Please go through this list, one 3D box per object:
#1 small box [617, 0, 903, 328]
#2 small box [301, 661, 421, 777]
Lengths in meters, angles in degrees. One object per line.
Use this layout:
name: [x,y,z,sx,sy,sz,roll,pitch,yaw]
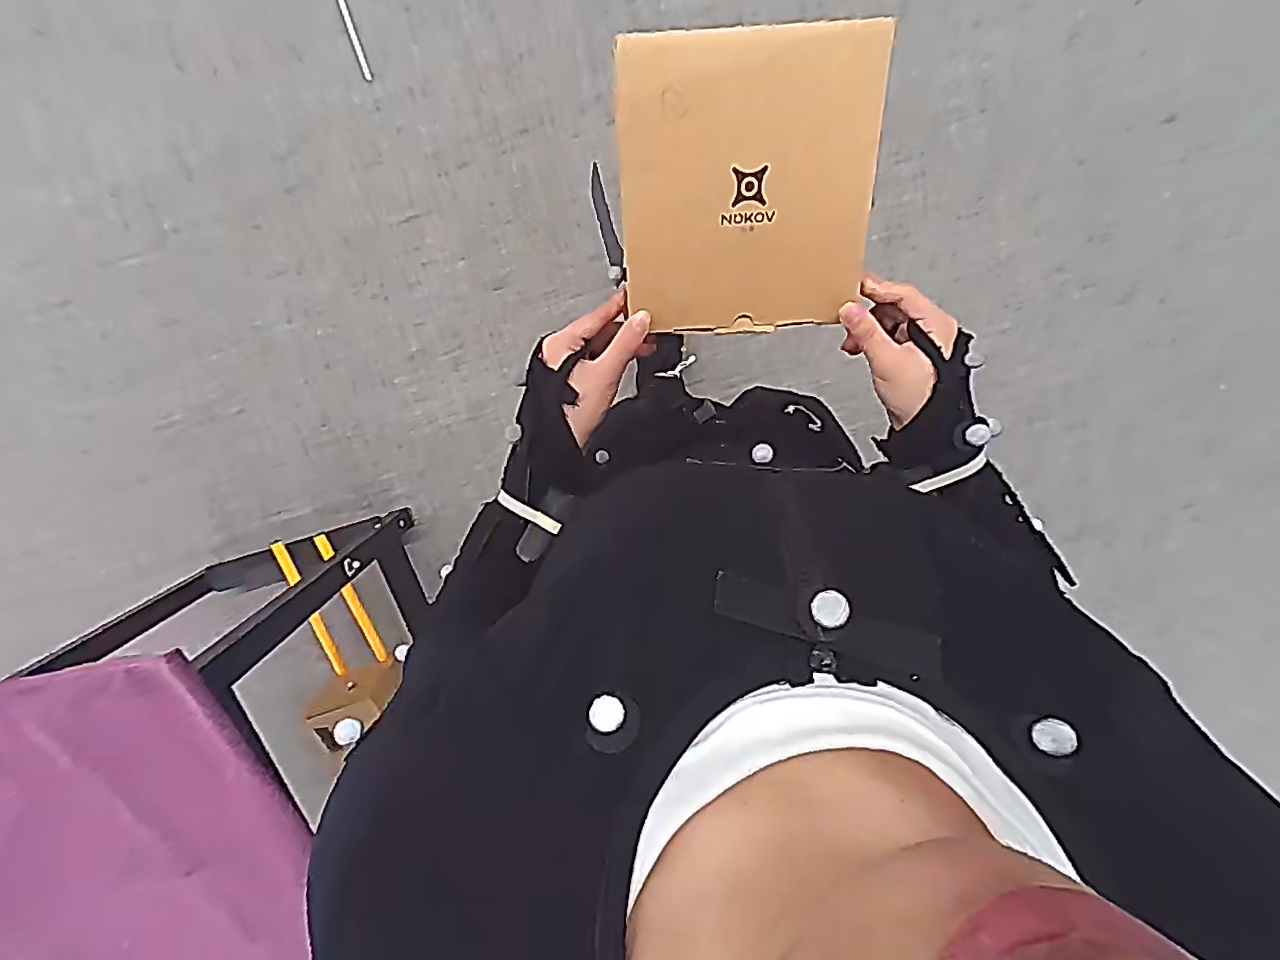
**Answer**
small box: [0.070,-0.225,0.413,0.168,0.176,0.179,-4,118,0]
small box: [-0.671,0.577,1.322,0.179,0.176,0.168,-19,106,0]
